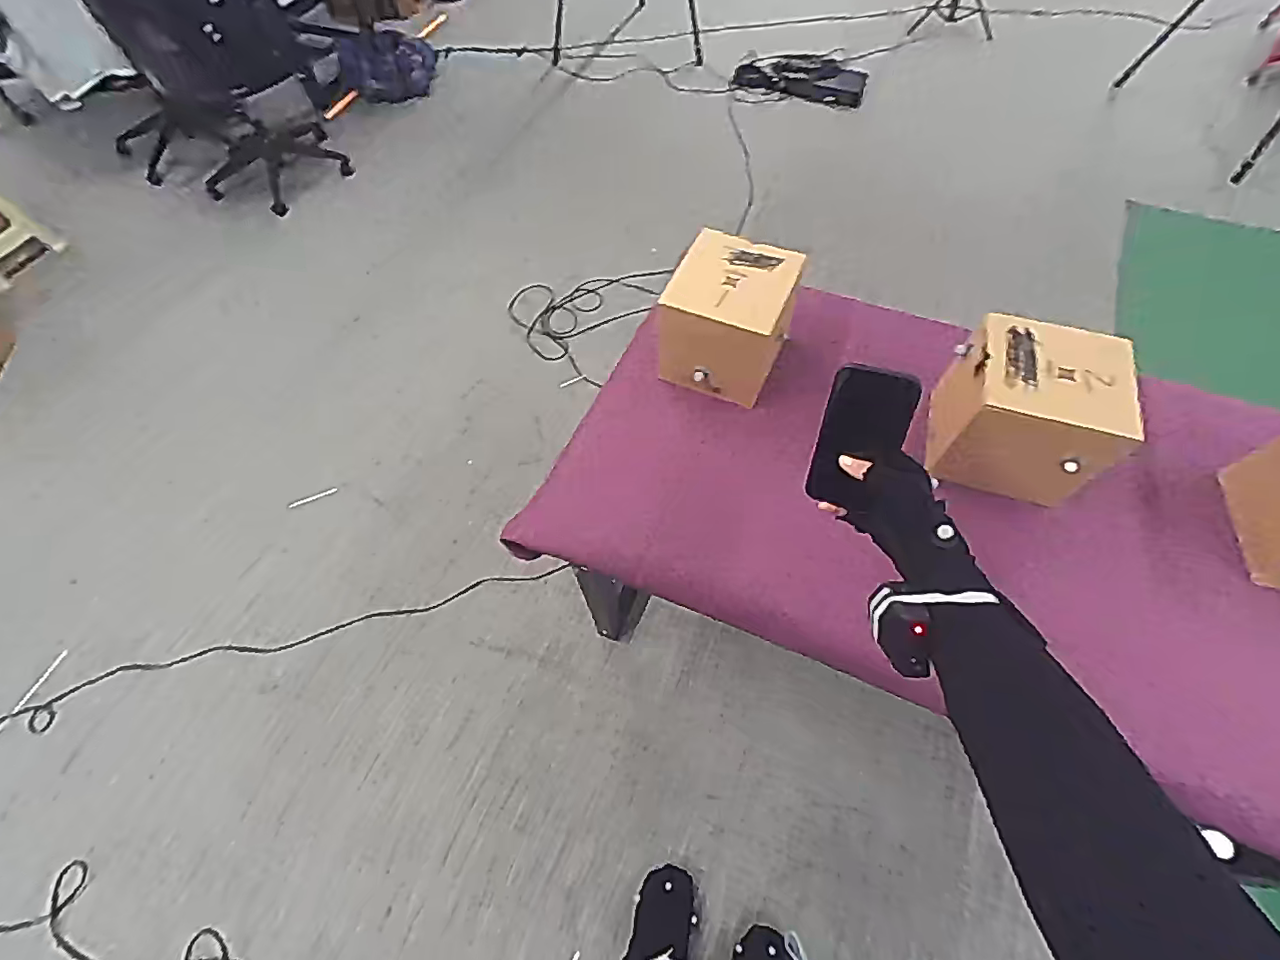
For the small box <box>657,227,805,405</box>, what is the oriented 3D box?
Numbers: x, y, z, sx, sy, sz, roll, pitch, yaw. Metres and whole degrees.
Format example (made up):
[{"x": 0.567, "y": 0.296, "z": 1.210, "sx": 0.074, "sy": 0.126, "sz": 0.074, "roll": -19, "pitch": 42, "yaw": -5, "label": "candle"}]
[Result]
[{"x": 0.133, "y": -0.249, "z": 0.838, "sx": 0.168, "sy": 0.176, "sz": 0.179, "roll": 22, "pitch": 65, "yaw": 14, "label": "small box"}]

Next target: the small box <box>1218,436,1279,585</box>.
[{"x": 0.871, "y": 0.038, "z": 0.647, "sx": 0.168, "sy": 0.176, "sz": 0.179, "roll": 11, "pitch": 60, "yaw": 9, "label": "small box"}]
